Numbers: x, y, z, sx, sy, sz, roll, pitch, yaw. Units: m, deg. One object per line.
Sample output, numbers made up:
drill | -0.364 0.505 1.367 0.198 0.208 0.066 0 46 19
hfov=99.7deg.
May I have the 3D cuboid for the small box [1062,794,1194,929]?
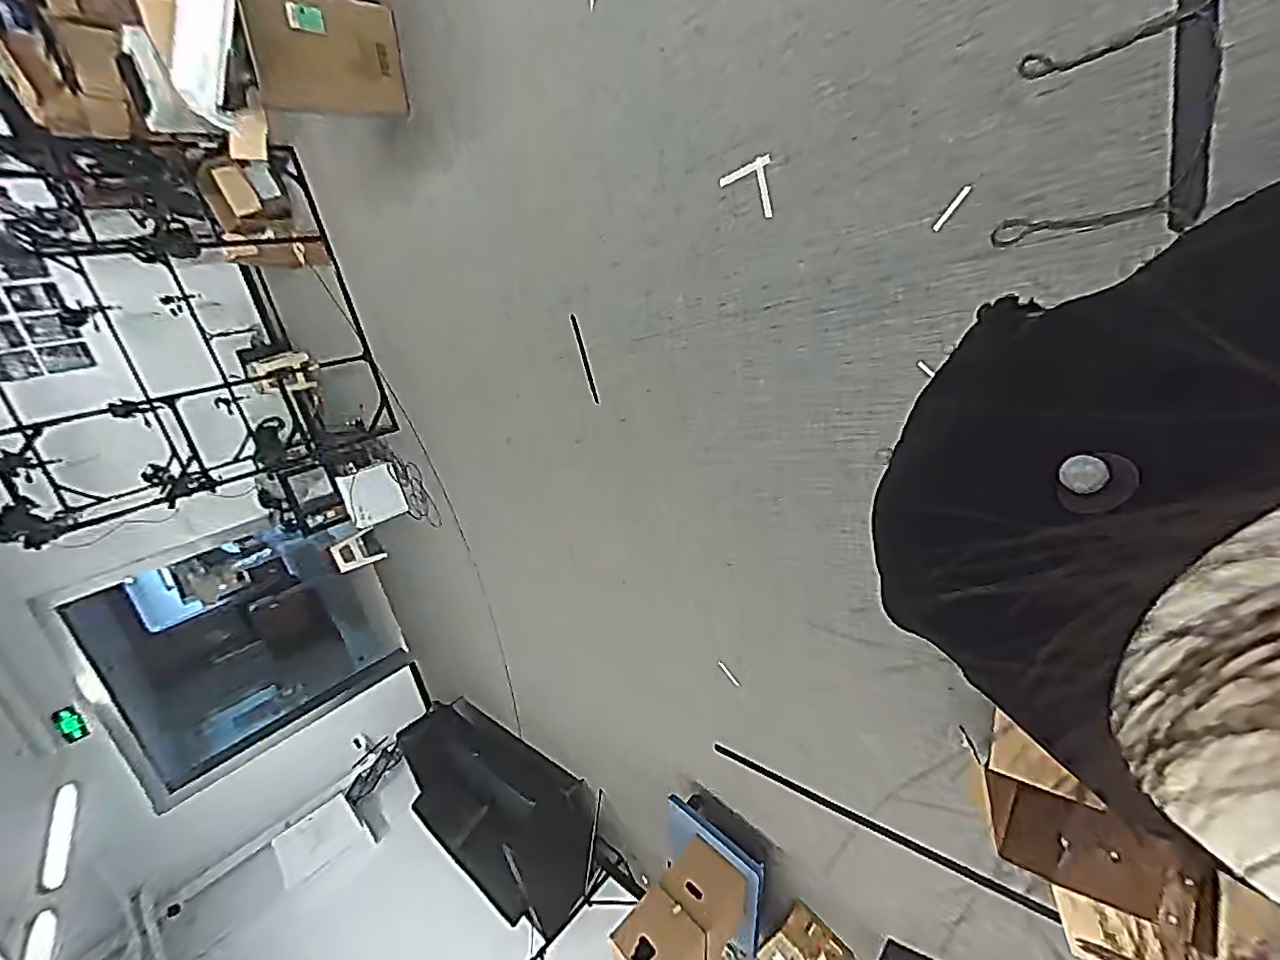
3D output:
small box | 1.115 0.853 1.232 0.179 0.176 0.168 -29 86 54
